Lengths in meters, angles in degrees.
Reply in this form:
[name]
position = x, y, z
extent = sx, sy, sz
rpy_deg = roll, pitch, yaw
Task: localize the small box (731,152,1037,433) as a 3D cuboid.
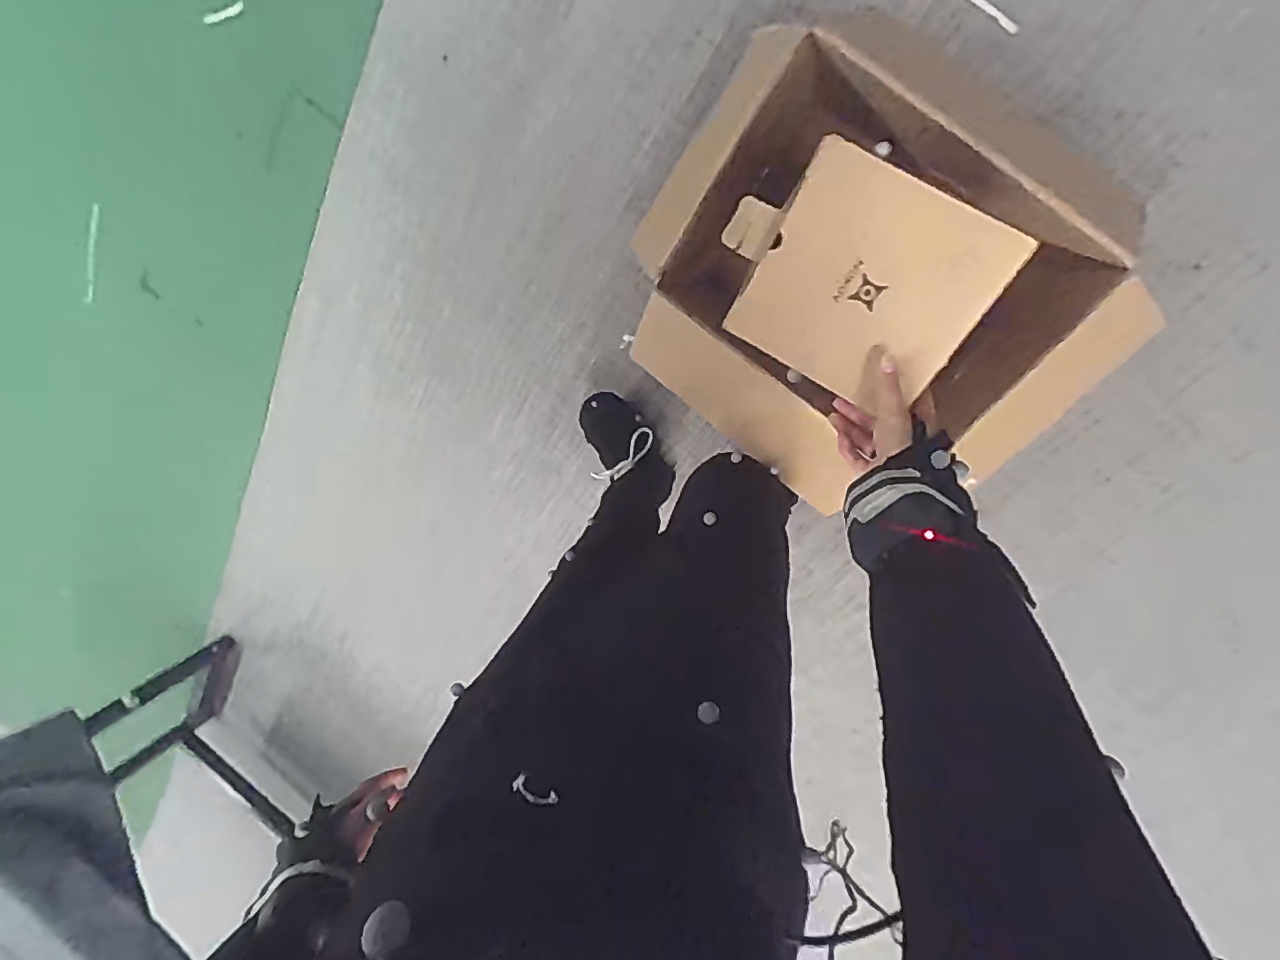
[small box]
position = 0.217, -0.175, 0.513
extent = 0.179, 0.176, 0.168
rpy_deg = 34, 118, 8
